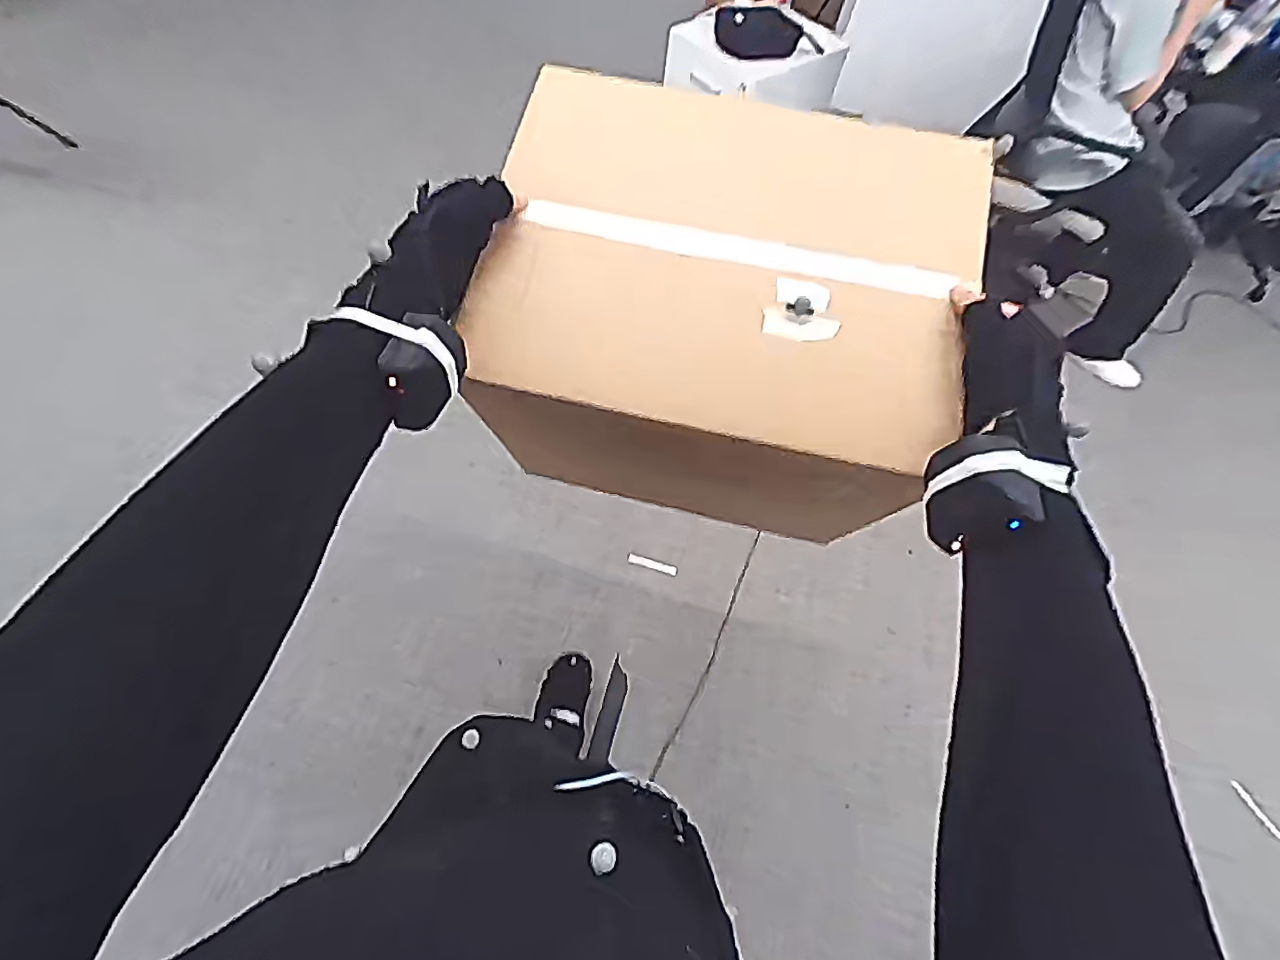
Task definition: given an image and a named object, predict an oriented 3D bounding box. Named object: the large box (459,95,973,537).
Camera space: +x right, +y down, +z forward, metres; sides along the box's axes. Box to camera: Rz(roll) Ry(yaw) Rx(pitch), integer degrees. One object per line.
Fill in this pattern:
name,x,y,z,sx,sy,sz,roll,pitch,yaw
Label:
large box,0.076,-0.147,0.609,0.408,0.320,0.320,13,77,4
